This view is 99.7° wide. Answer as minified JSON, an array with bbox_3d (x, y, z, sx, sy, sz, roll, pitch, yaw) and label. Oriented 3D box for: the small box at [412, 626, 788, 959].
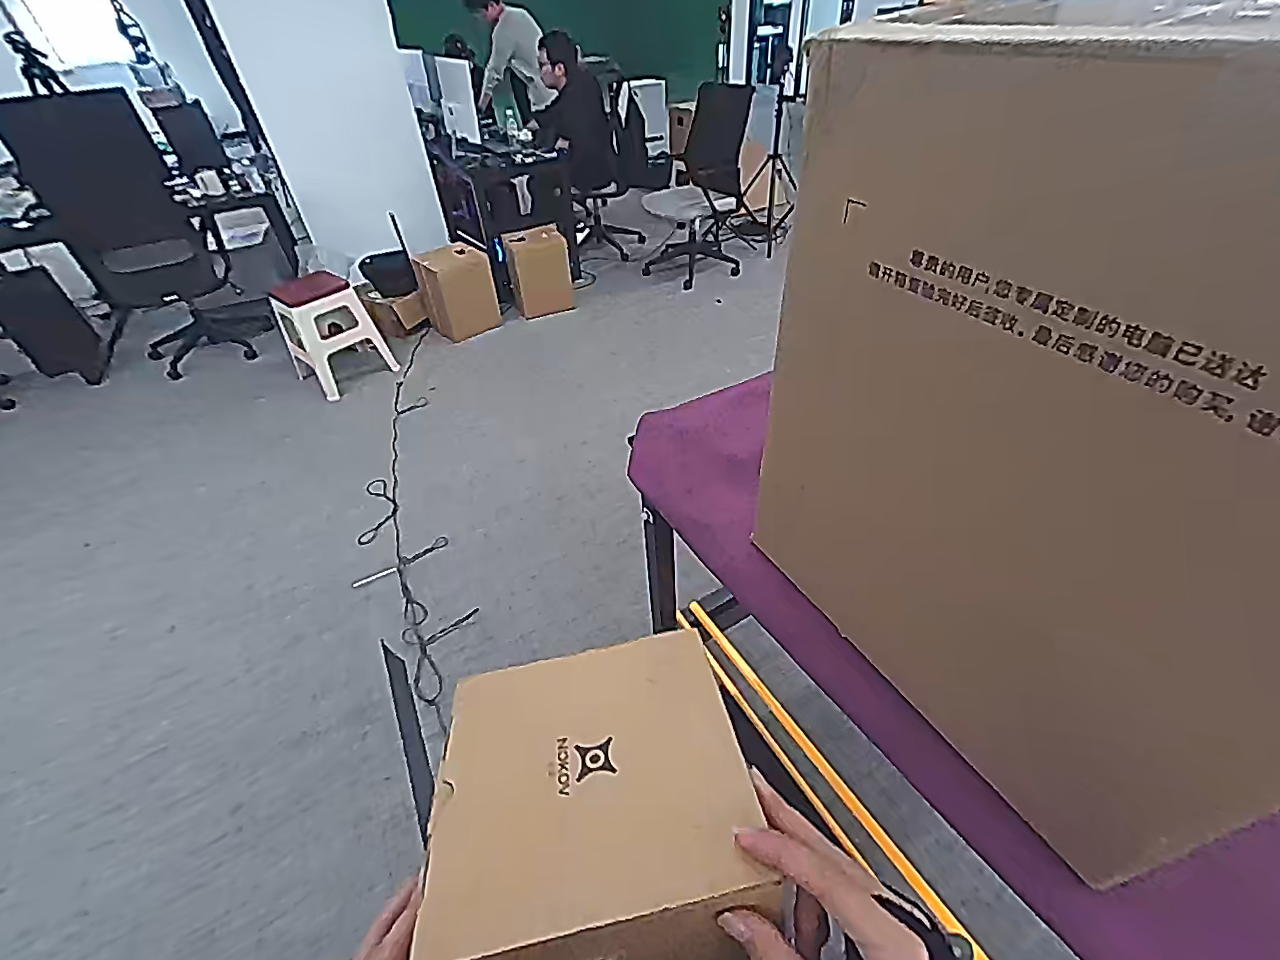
[{"bbox_3d":[-0.018,0.228,0.351,0.179,0.176,0.168,-12,30,-4],"label":"small box"}]
